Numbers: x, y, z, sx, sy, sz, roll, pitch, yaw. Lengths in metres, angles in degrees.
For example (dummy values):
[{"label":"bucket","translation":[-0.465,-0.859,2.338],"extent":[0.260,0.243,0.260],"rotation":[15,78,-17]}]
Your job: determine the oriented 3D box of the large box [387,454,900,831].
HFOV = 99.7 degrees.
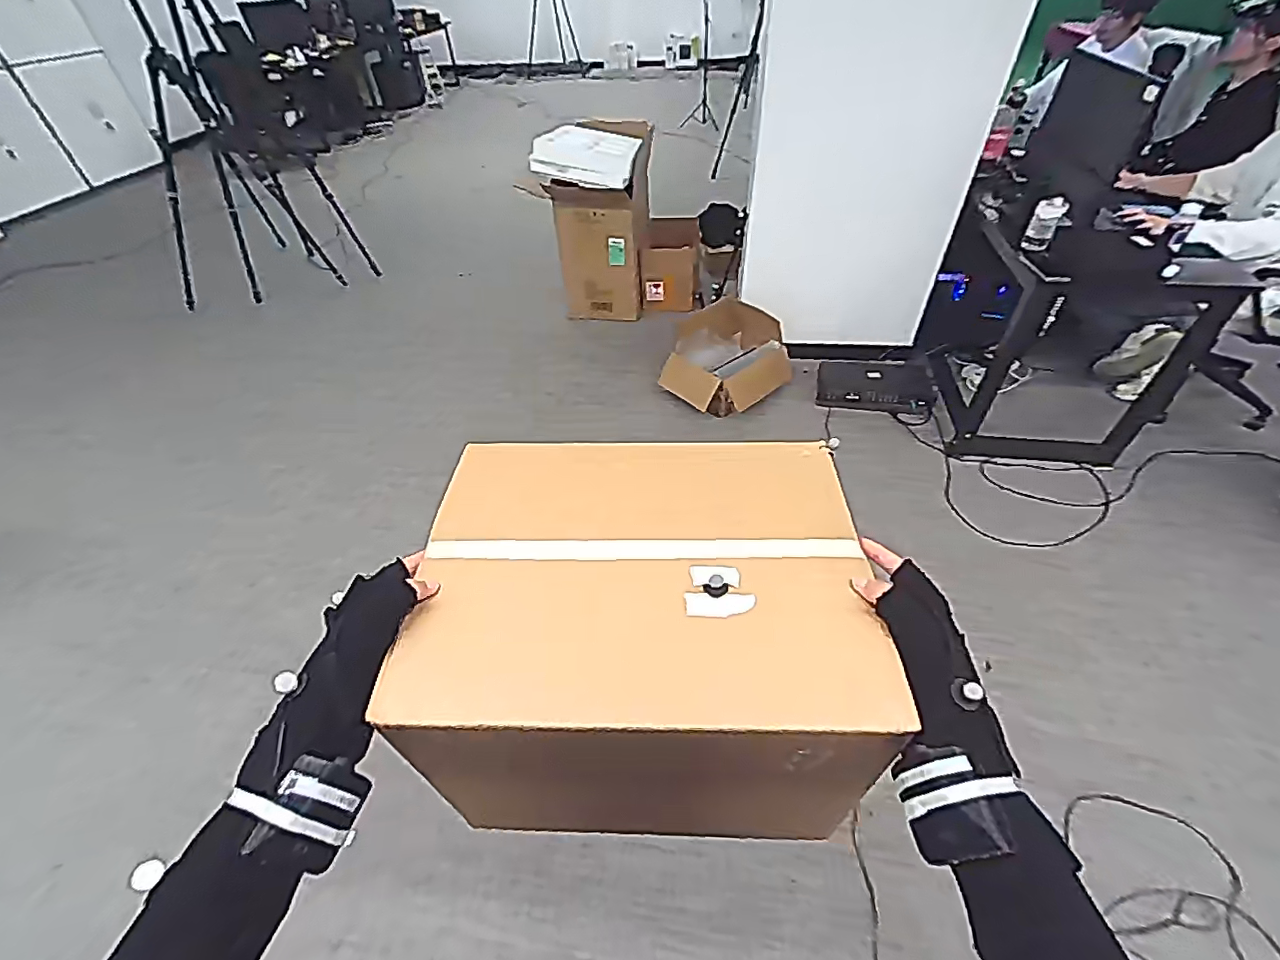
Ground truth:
[{"label":"large box","translation":[0.004,0.185,0.620],"extent":[0.408,0.320,0.320],"rotation":[0,45,2]}]
